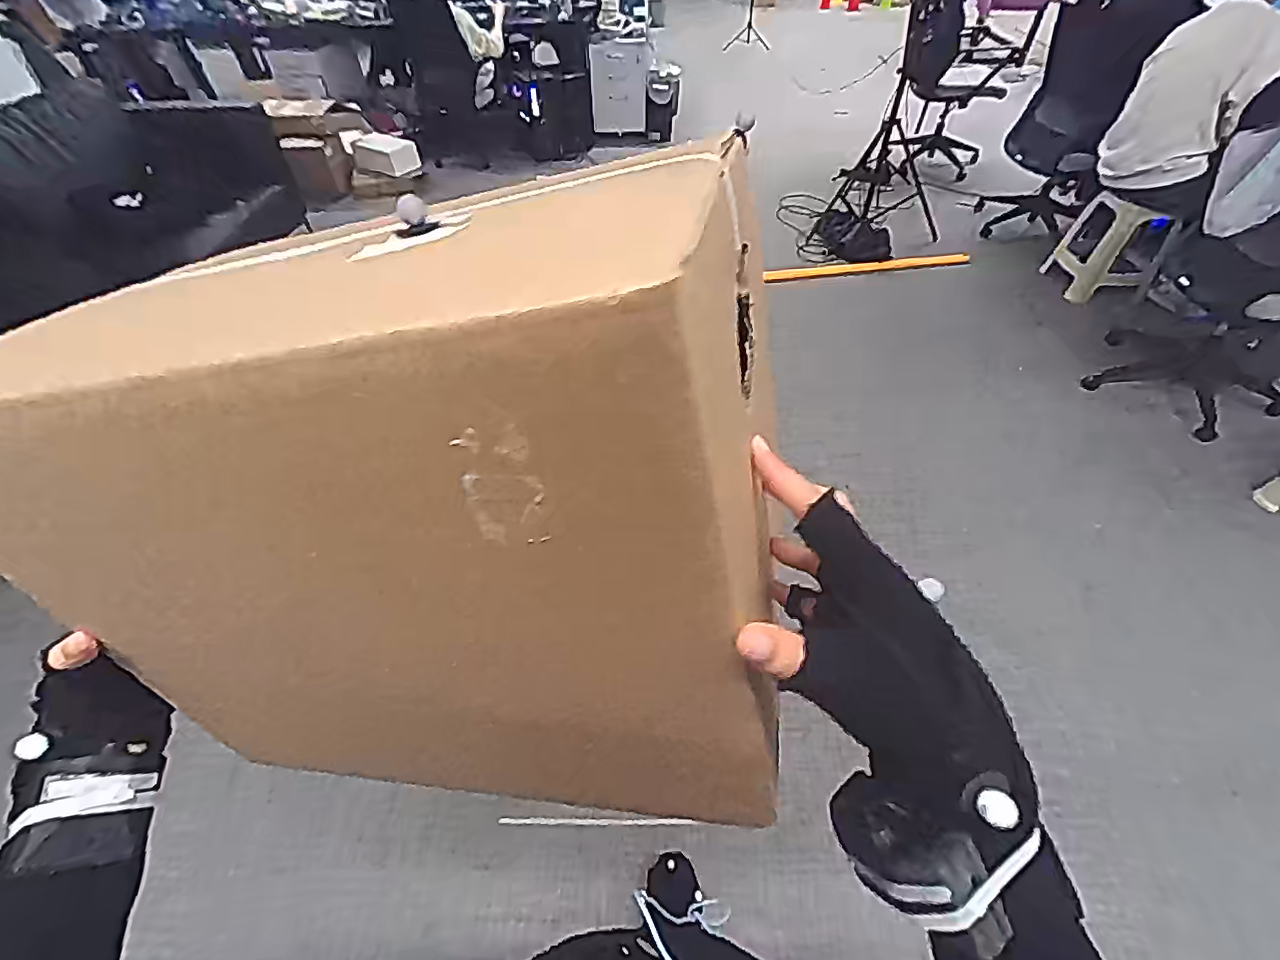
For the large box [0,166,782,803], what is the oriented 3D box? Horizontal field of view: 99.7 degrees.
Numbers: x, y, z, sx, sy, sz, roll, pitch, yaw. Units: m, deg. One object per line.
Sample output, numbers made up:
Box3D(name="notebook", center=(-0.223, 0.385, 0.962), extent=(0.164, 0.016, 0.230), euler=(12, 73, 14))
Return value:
Box3D(name="large box", center=(-0.109, -0.003, 0.406), extent=(0.408, 0.320, 0.320), euler=(-3, 37, 16))
